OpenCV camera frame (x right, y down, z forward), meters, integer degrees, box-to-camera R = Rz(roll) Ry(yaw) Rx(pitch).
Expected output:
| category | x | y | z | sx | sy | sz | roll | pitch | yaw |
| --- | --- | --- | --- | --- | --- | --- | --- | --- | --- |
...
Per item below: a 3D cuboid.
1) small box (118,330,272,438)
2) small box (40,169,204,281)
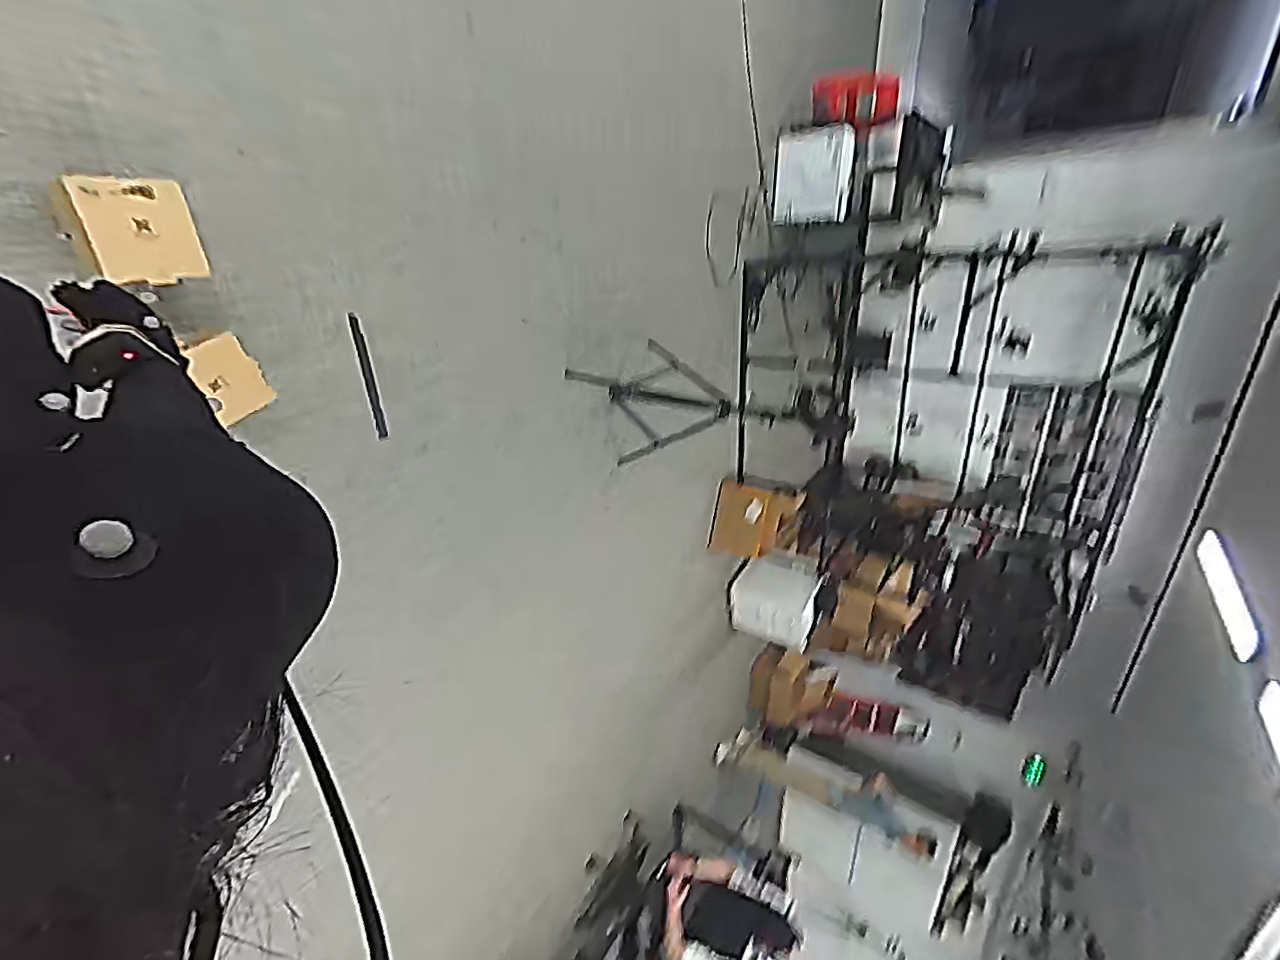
| category | x | y | z | sx | sy | sz | roll | pitch | yaw |
| --- | --- | --- | --- | --- | --- | --- | --- | --- | --- |
| small box | -0.959 | -0.215 | 1.167 | 0.179 | 0.176 | 0.168 | -47 | 136 | -36 |
| small box | -0.985 | -0.479 | 1.033 | 0.168 | 0.176 | 0.179 | -30 | 125 | -48 |
